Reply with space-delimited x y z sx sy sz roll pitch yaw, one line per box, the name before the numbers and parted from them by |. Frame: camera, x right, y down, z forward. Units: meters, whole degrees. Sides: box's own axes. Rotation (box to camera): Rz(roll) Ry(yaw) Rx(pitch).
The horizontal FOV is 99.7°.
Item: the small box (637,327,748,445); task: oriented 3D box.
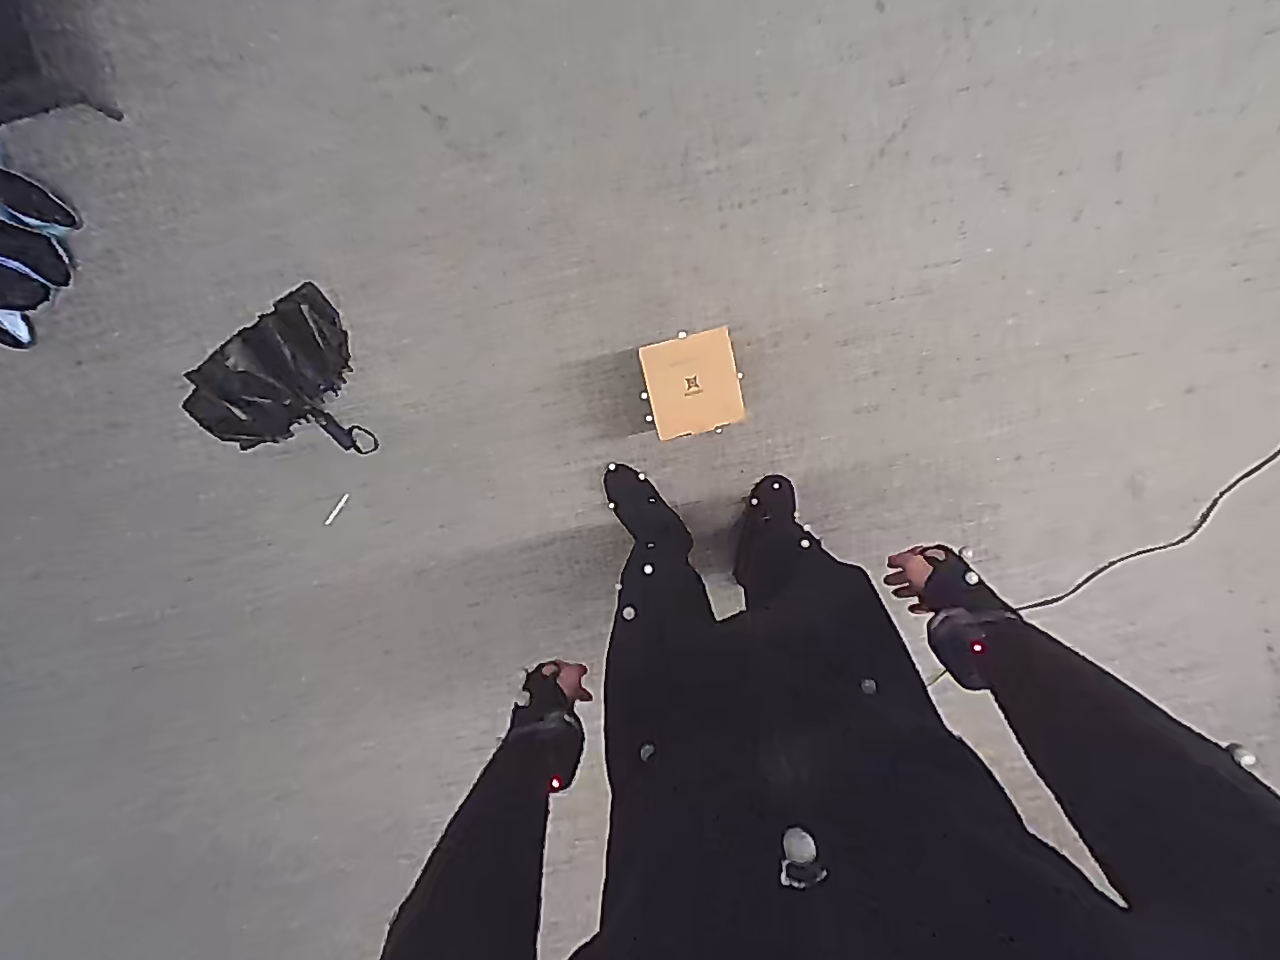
small box | 0.095 -0.176 1.024 0.168 0.176 0.179 -14 99 3
